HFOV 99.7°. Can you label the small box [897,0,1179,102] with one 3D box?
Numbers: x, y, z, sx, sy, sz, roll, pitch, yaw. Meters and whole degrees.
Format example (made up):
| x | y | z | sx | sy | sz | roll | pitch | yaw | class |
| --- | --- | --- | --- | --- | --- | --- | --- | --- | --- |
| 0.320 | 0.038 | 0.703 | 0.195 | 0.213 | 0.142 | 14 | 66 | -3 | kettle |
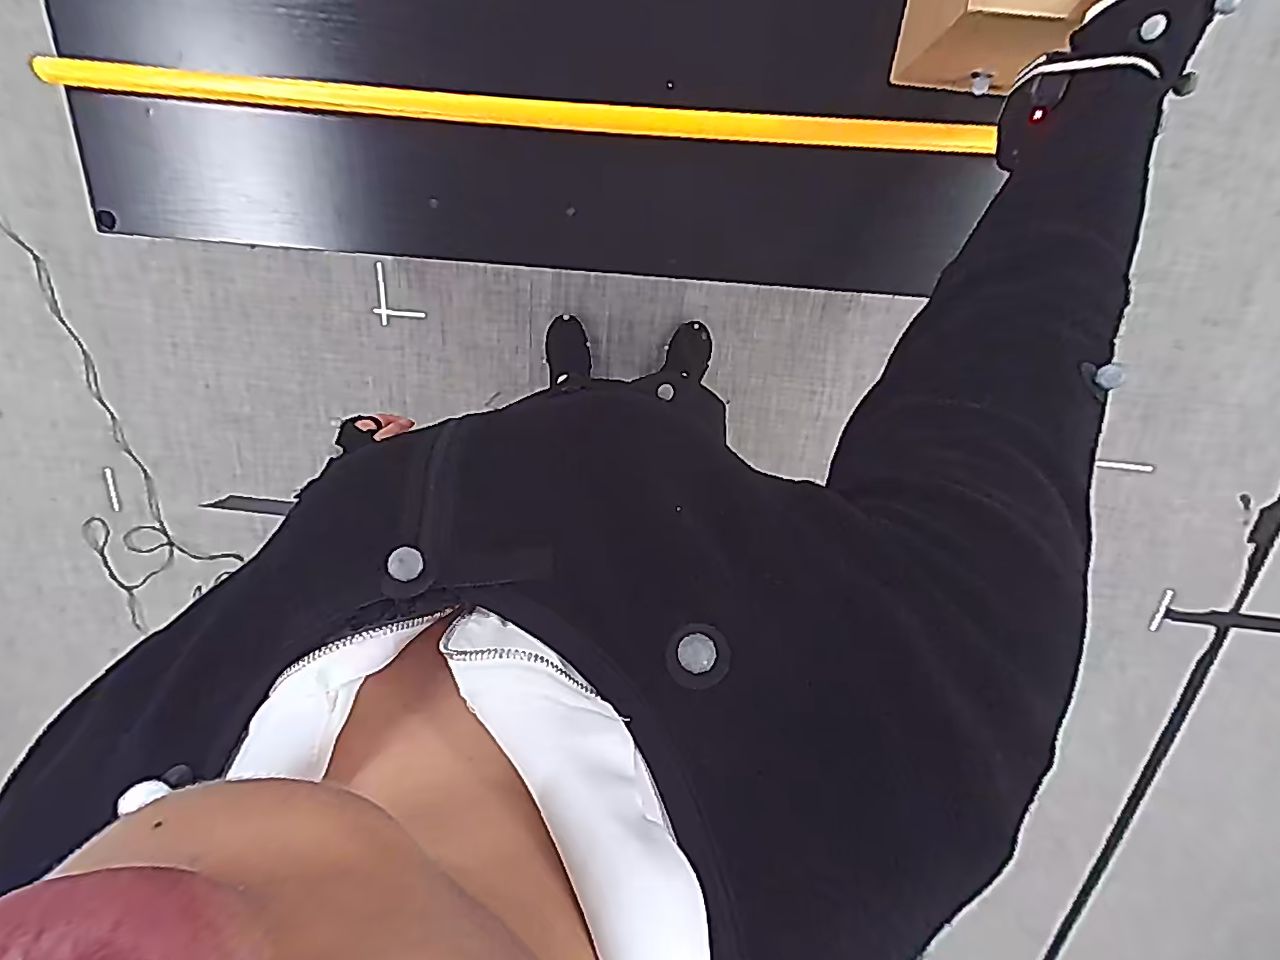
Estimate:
| x | y | z | sx | sy | sz | roll | pitch | yaw | class |
| --- | --- | --- | --- | --- | --- | --- | --- | --- | --- |
| 0.357 | -0.475 | 0.483 | 0.168 | 0.176 | 0.179 | 8 | 110 | 1 | small box |
